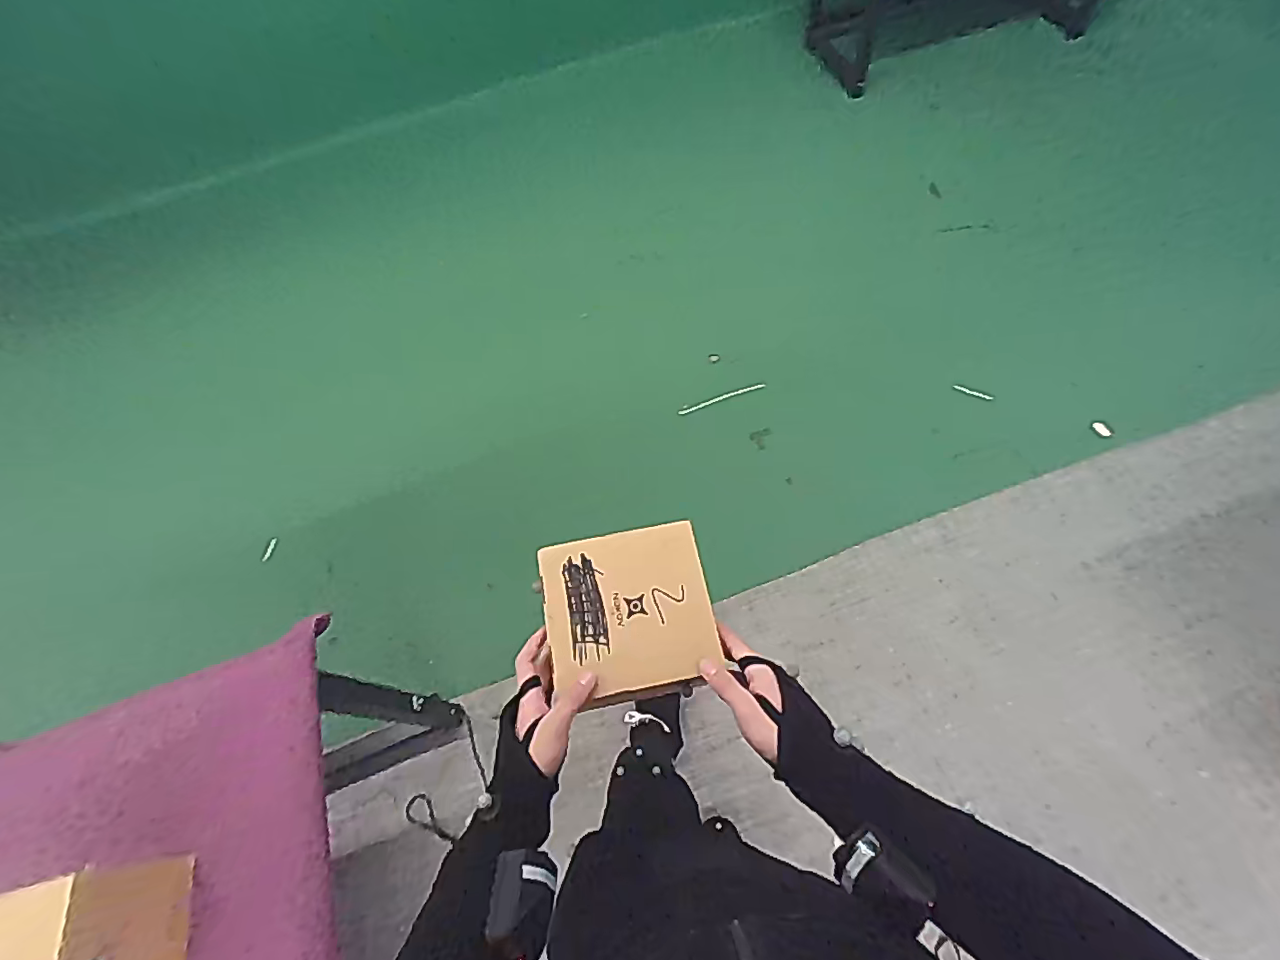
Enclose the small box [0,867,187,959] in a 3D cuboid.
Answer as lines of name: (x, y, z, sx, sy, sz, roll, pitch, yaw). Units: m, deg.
small box: (-0.676, 0.573, 0.624, 0.168, 0.176, 0.179, -16, 62, -3)
